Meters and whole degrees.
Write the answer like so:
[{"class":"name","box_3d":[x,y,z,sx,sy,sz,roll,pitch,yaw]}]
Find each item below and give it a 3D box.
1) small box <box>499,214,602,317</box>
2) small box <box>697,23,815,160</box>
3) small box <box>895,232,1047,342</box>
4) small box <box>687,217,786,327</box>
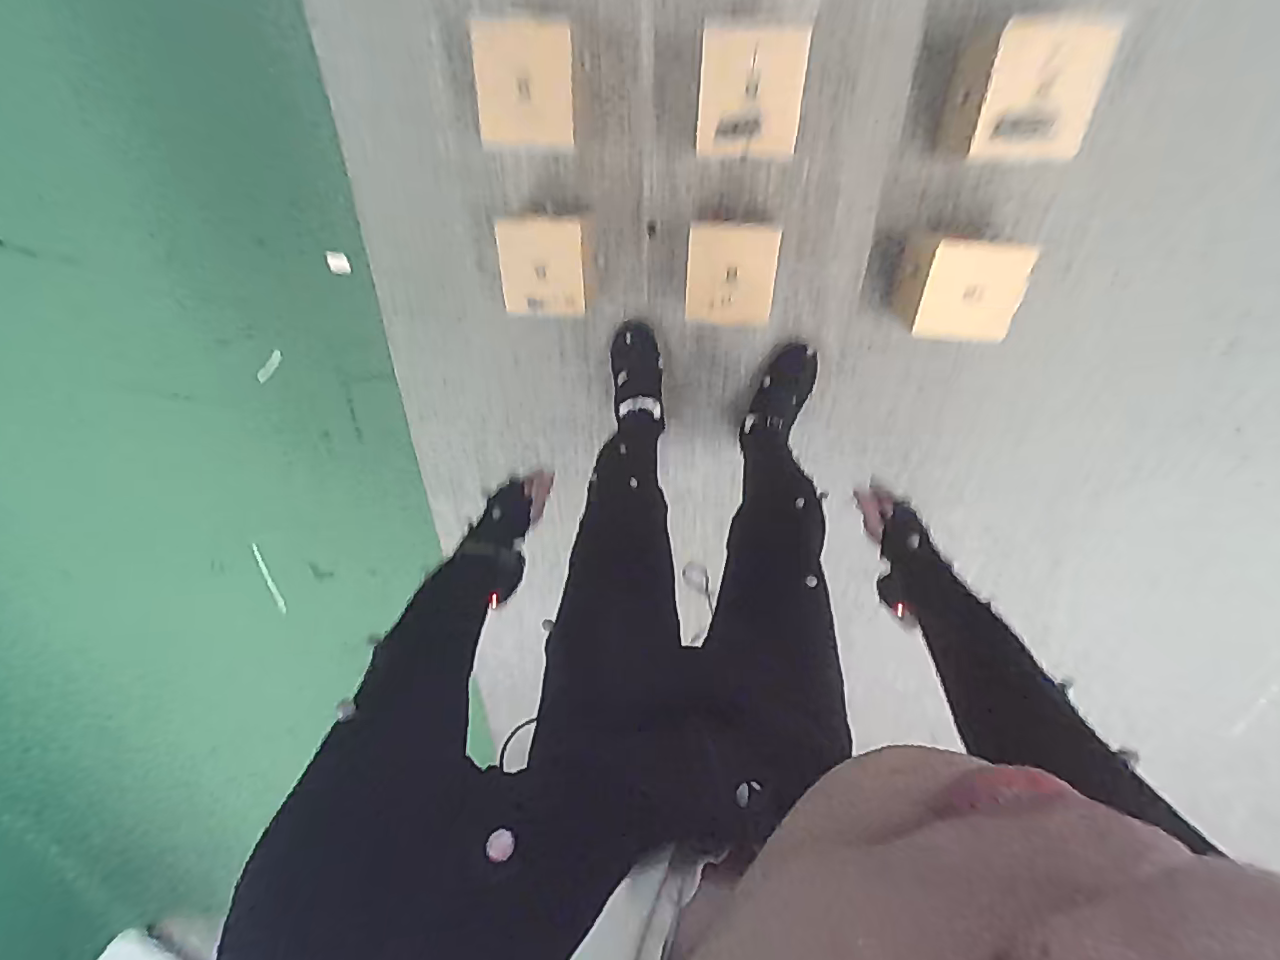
[{"class":"small box","box_3d":[-0.173,-0.442,1.101,0.168,0.176,0.179,4,120,6]},{"class":"small box","box_3d":[0.189,-0.652,0.922,0.168,0.176,0.179,5,121,5]},{"class":"small box","box_3d":[0.614,-0.375,1.035,0.179,0.176,0.168,4,122,4]},{"class":"small box","box_3d":[0.183,-0.415,1.068,0.168,0.176,0.179,5,122,5]}]
